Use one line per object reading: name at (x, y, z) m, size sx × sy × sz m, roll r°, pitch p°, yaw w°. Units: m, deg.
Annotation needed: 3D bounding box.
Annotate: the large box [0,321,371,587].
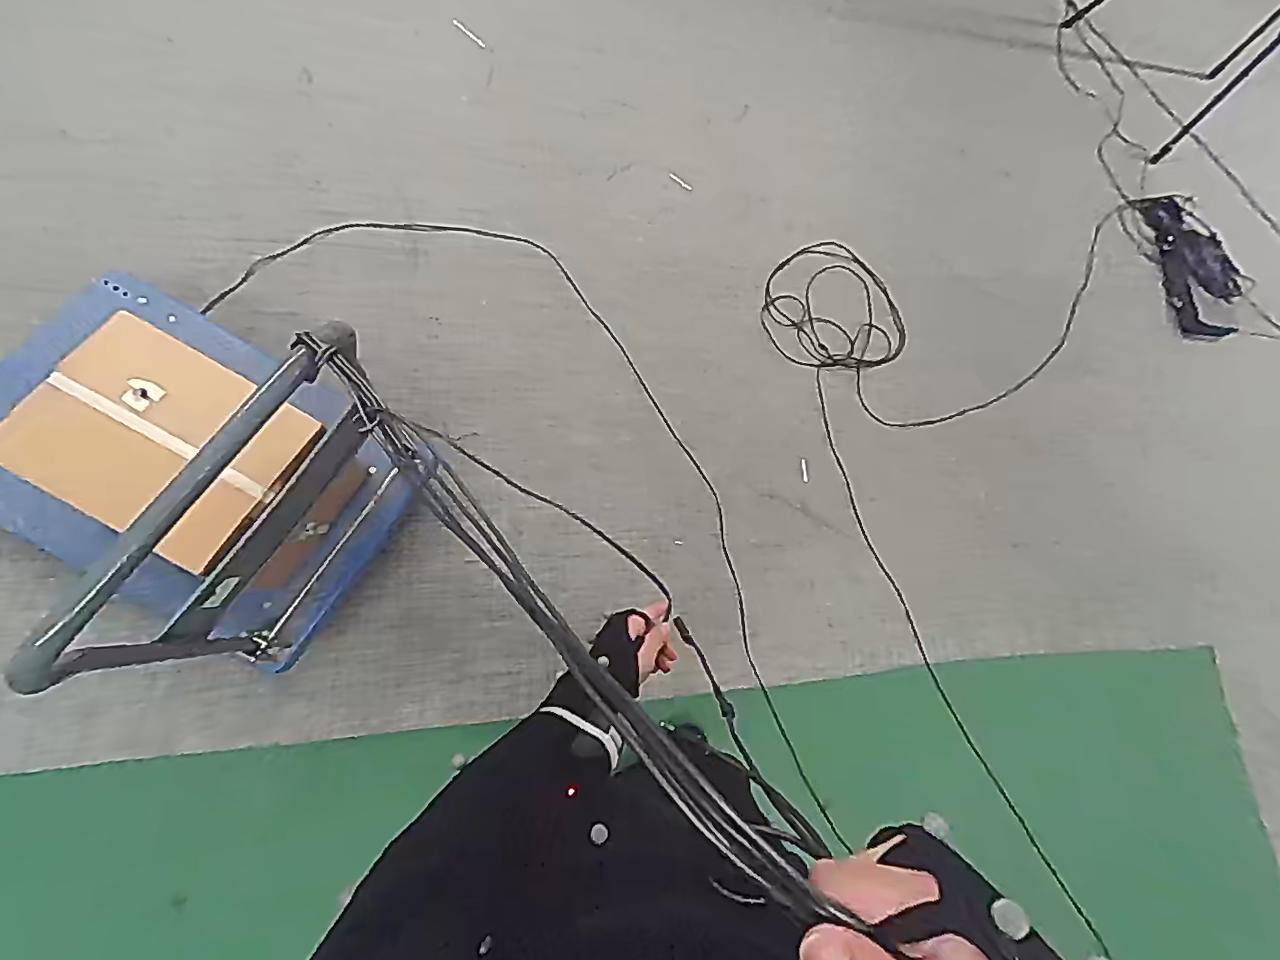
large box at (-0.831, -0.025, 1.058) m, size 0.408 × 0.320 × 0.320 m, roll 30°, pitch 70°, yaw -1°
